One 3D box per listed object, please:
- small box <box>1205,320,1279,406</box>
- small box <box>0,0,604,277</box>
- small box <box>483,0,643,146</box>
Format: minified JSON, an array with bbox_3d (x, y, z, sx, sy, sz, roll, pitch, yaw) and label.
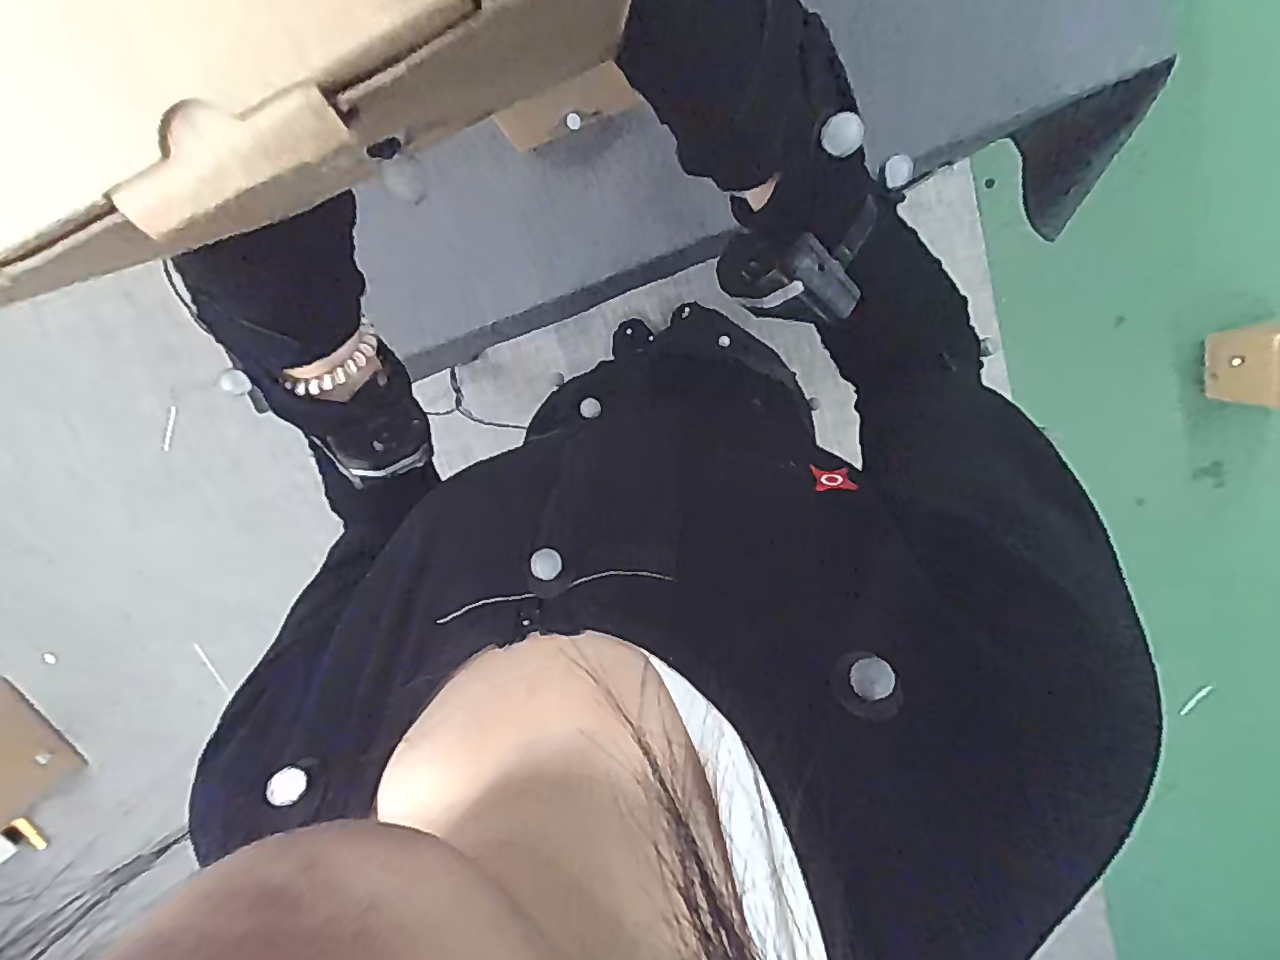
[{"bbox_3d":[1.503,-0.280,1.280,0.179,0.176,0.168,-14,103,6],"label":"small box"},{"bbox_3d":[-0.109,-0.172,0.115,0.168,0.176,0.179,-20,123,8],"label":"small box"},{"bbox_3d":[-0.101,-0.482,0.548,0.168,0.176,0.179,-18,104,7],"label":"small box"}]
